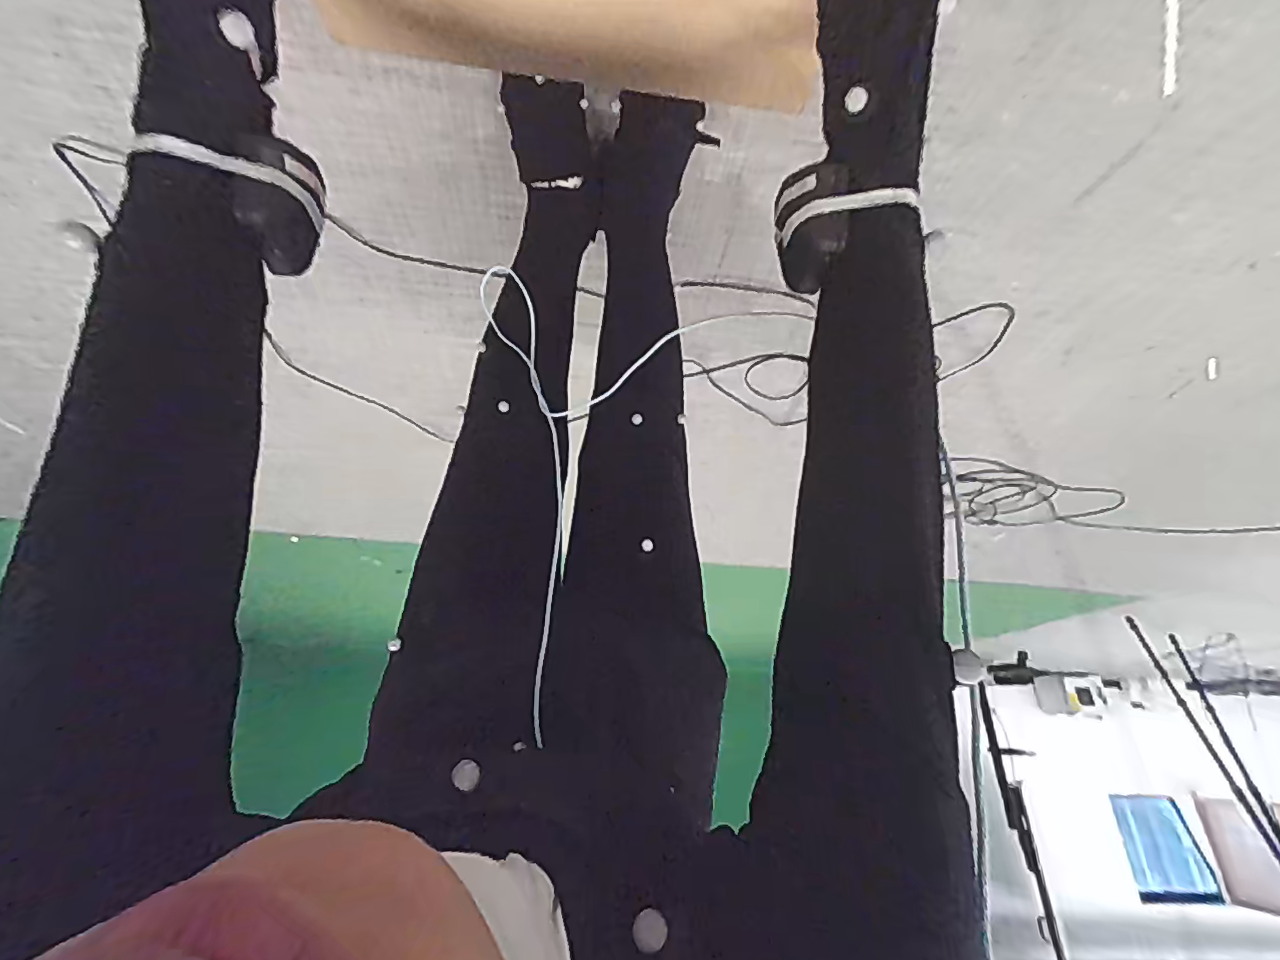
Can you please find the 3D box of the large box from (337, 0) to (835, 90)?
[{"bbox_3d":[-0.030,-0.563,0.401,0.408,0.320,0.320,5,154,-5],"label":"large box"}]
